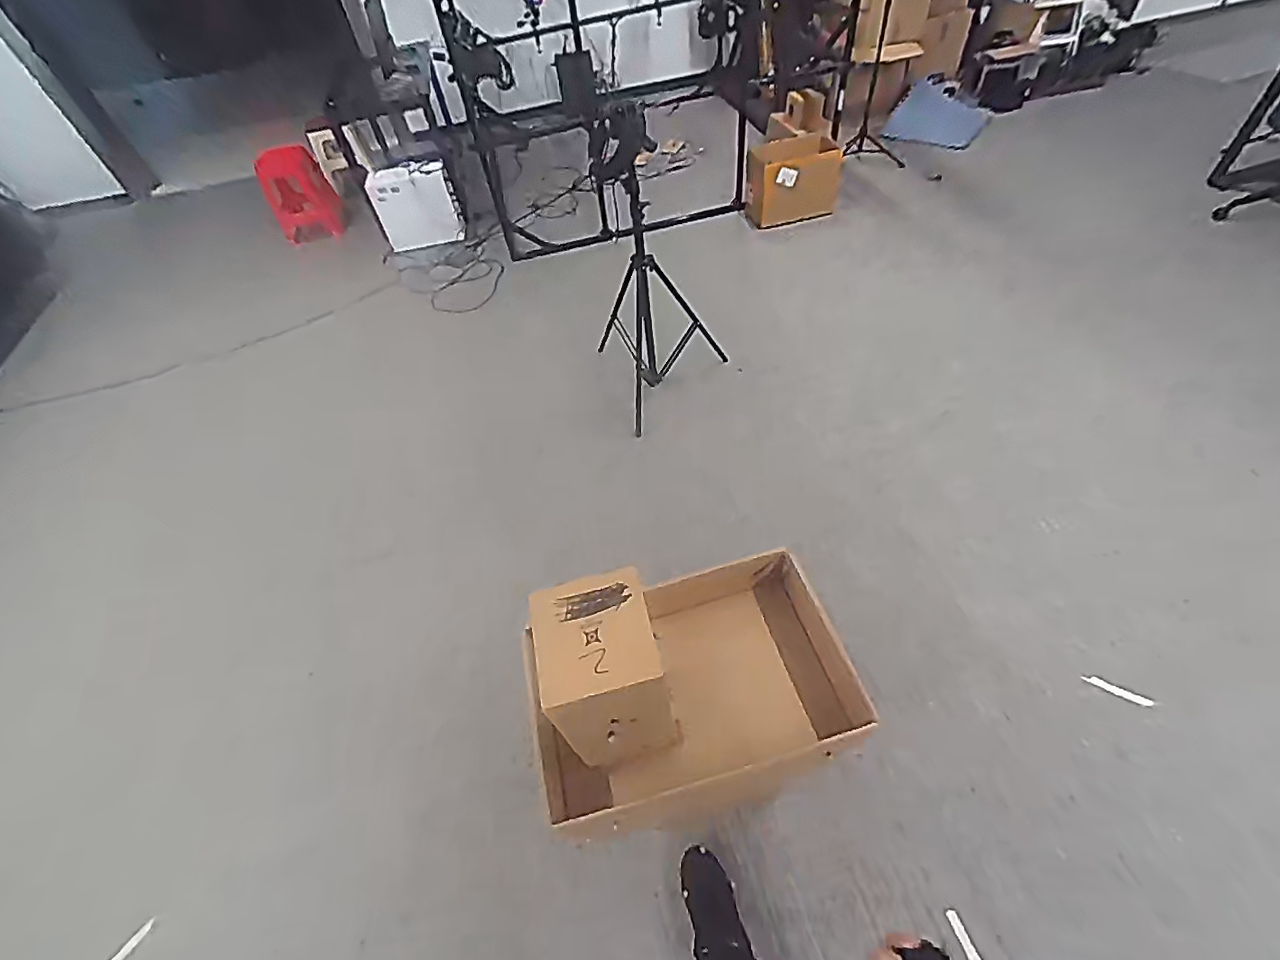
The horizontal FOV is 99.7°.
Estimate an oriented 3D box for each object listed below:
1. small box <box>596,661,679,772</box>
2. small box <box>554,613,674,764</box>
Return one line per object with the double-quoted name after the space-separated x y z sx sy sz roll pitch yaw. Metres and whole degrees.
-0.029 0.452 1.077 0.179 0.176 0.168 -20 50 -7 "small box"
-0.044 0.364 0.940 0.168 0.176 0.179 -15 49 -4 "small box"
